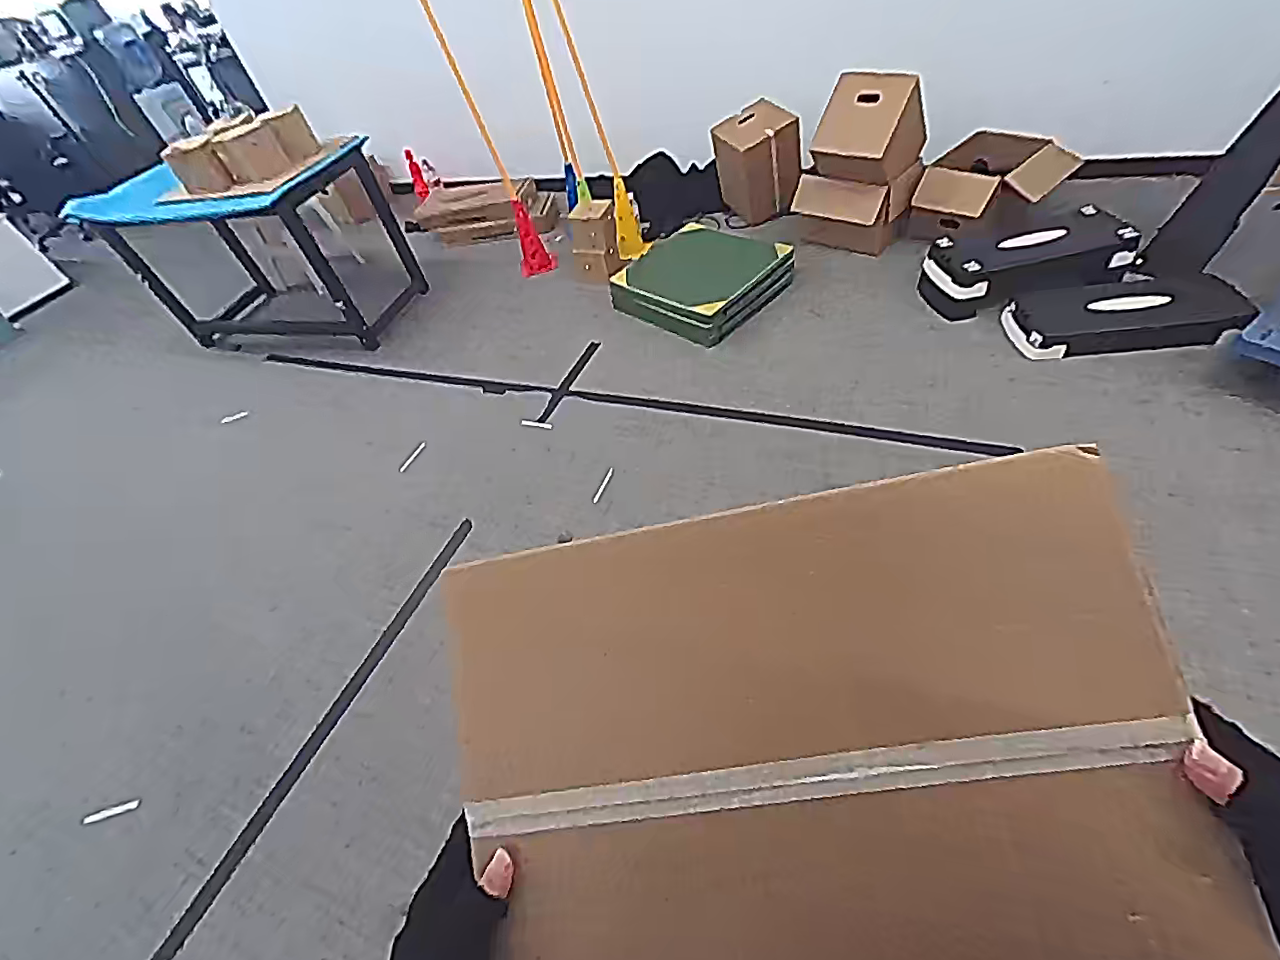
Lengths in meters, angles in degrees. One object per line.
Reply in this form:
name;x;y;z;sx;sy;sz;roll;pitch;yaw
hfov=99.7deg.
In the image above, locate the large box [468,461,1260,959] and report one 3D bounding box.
large box;0.124;0.201;0.461;0.408;0.320;0.320;-12;80;10
